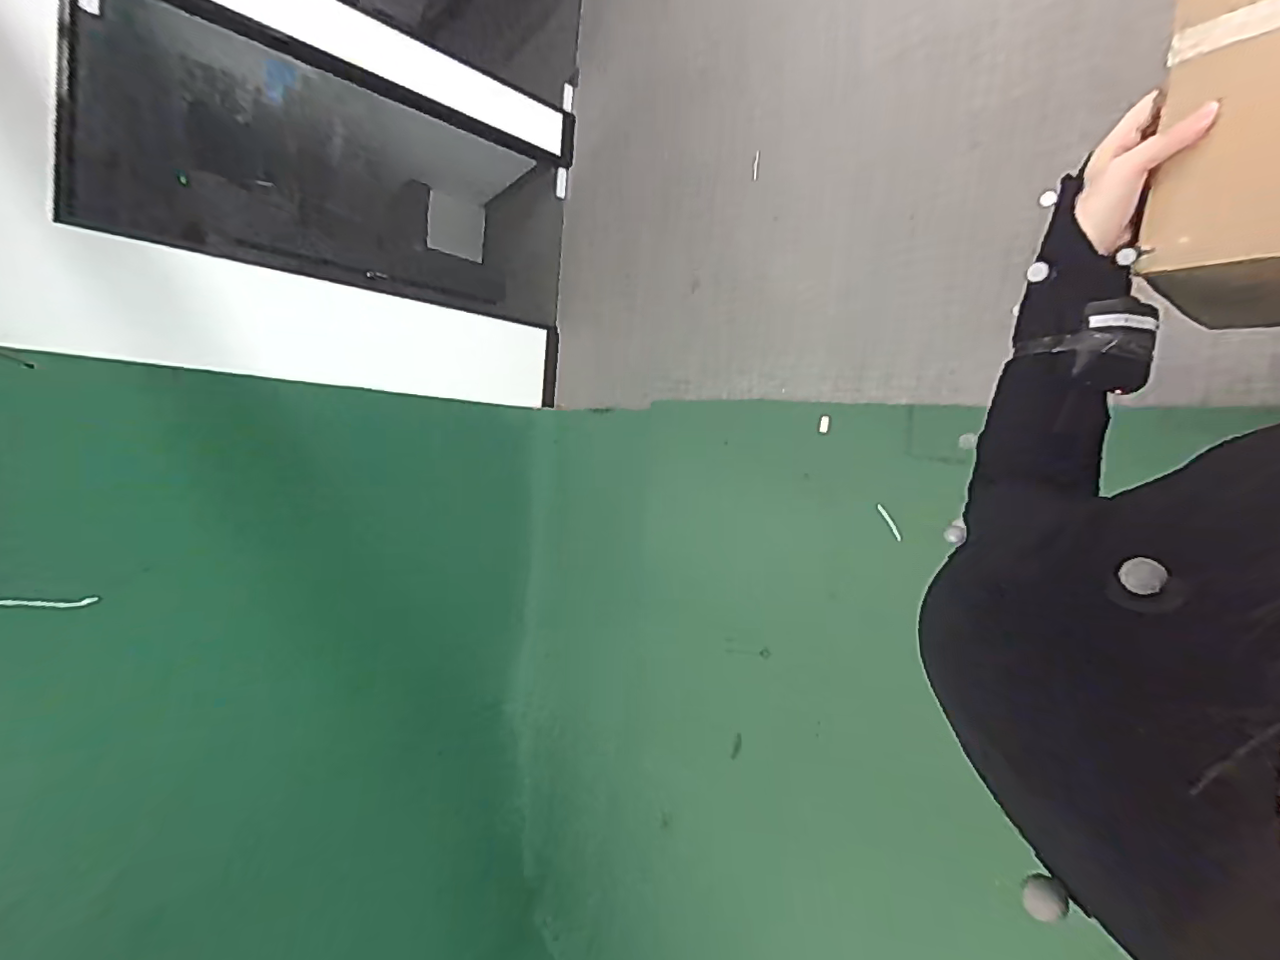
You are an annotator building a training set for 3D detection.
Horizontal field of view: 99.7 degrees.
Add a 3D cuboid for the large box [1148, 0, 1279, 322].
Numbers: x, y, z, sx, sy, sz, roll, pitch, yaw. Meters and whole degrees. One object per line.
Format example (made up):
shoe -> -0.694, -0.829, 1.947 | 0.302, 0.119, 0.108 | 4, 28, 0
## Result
large box -> 0.645, -0.295, 0.335 | 0.408, 0.320, 0.320 | 13, 100, 54
